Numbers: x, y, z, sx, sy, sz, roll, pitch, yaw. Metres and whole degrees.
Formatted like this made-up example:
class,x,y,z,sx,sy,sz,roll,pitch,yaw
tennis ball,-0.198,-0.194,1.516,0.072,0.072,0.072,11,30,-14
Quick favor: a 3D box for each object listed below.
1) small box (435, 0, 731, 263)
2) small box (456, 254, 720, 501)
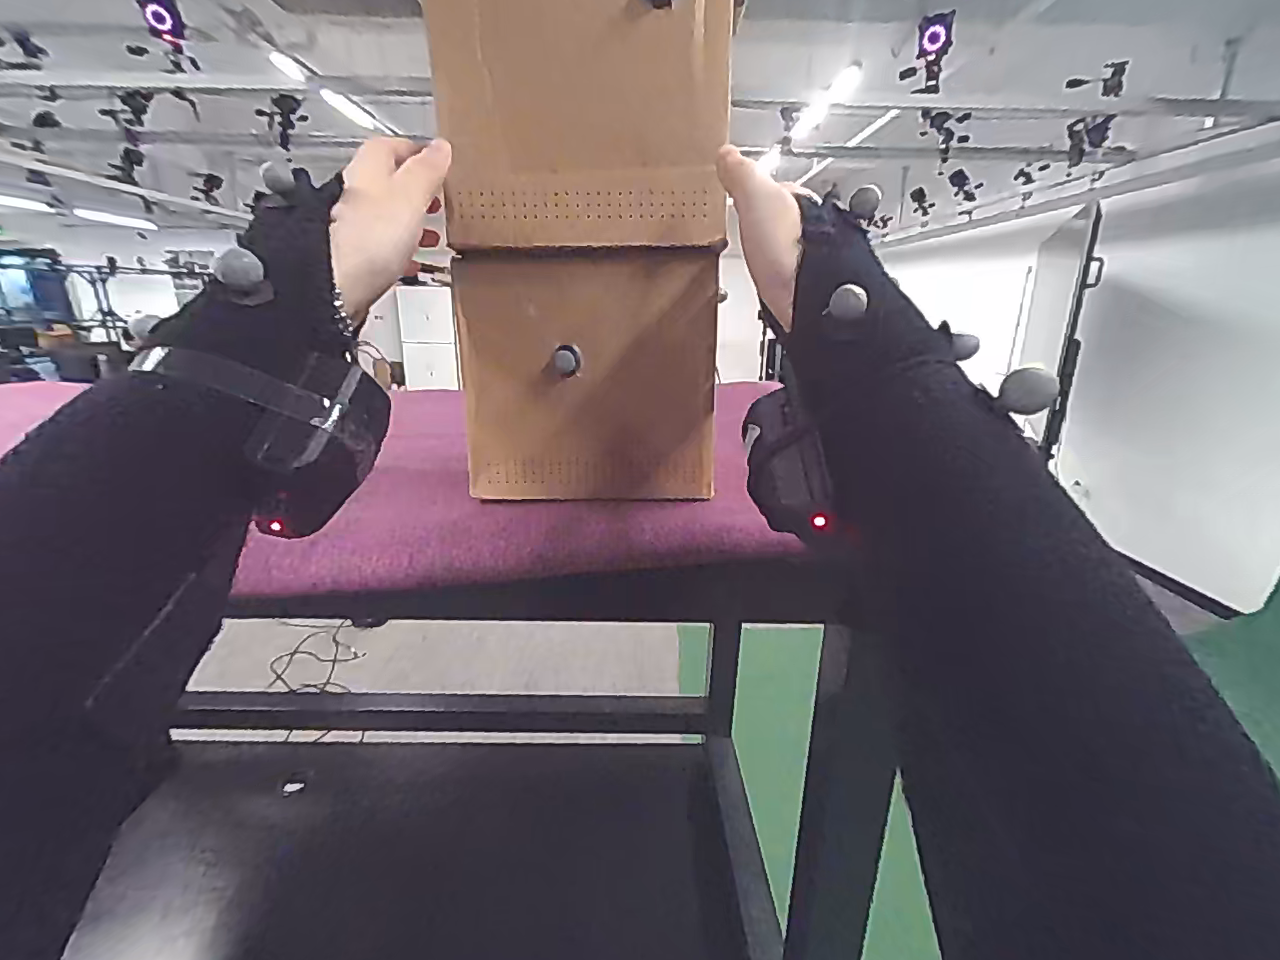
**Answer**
class,x,y,z,sx,sy,sz,roll,pitch,yaw
small box,-0.031,-0.236,0.389,0.179,0.176,0.168,0,15,0
small box,-0.031,-0.083,0.443,0.179,0.176,0.168,-1,15,0
